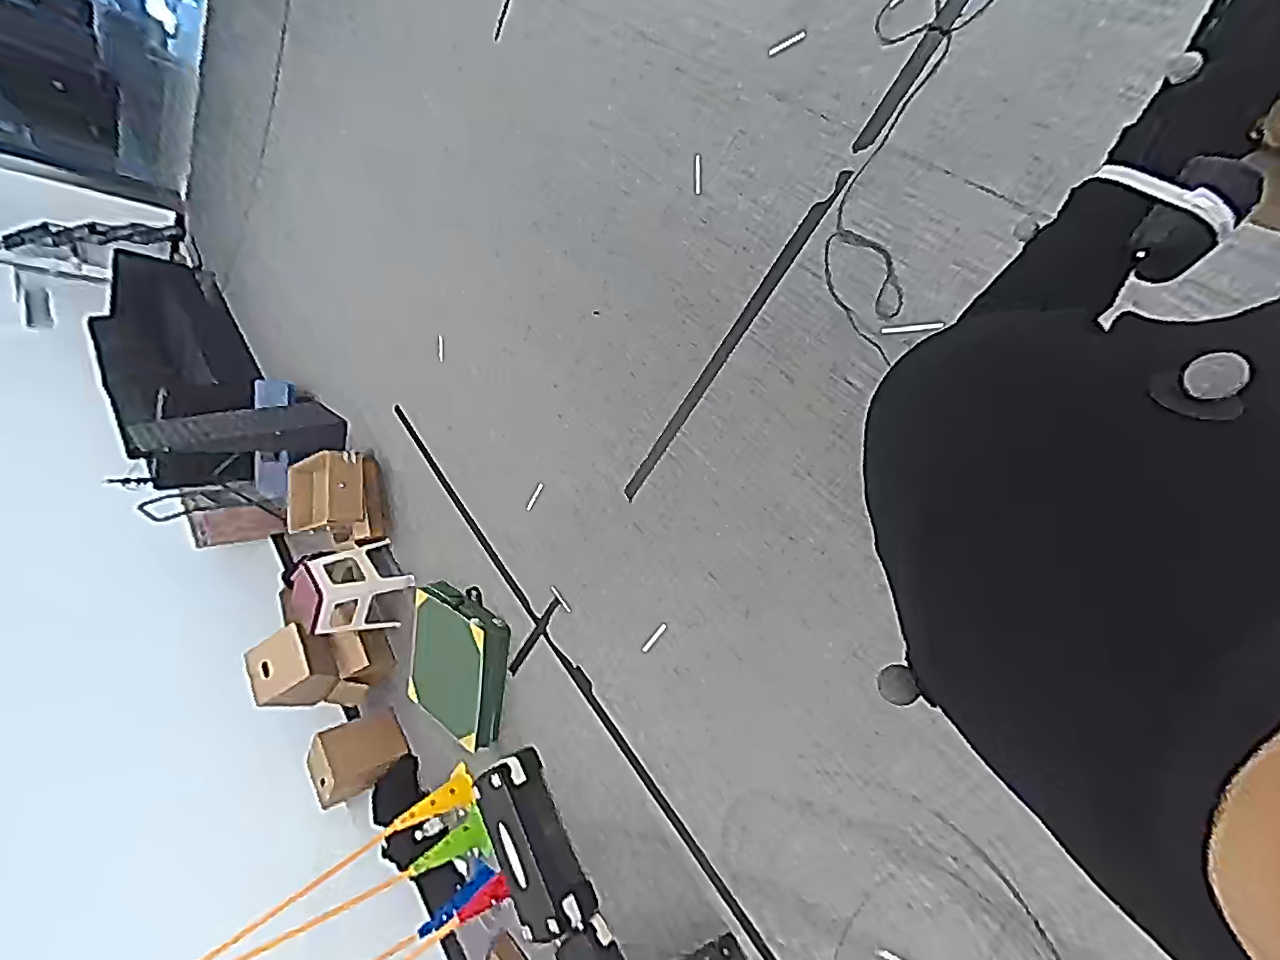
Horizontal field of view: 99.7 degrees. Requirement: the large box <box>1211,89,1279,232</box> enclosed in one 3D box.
[{"bbox_3d":[0.686,-0.267,0.302,0.408,0.320,0.320,41,128,27],"label":"large box"}]
